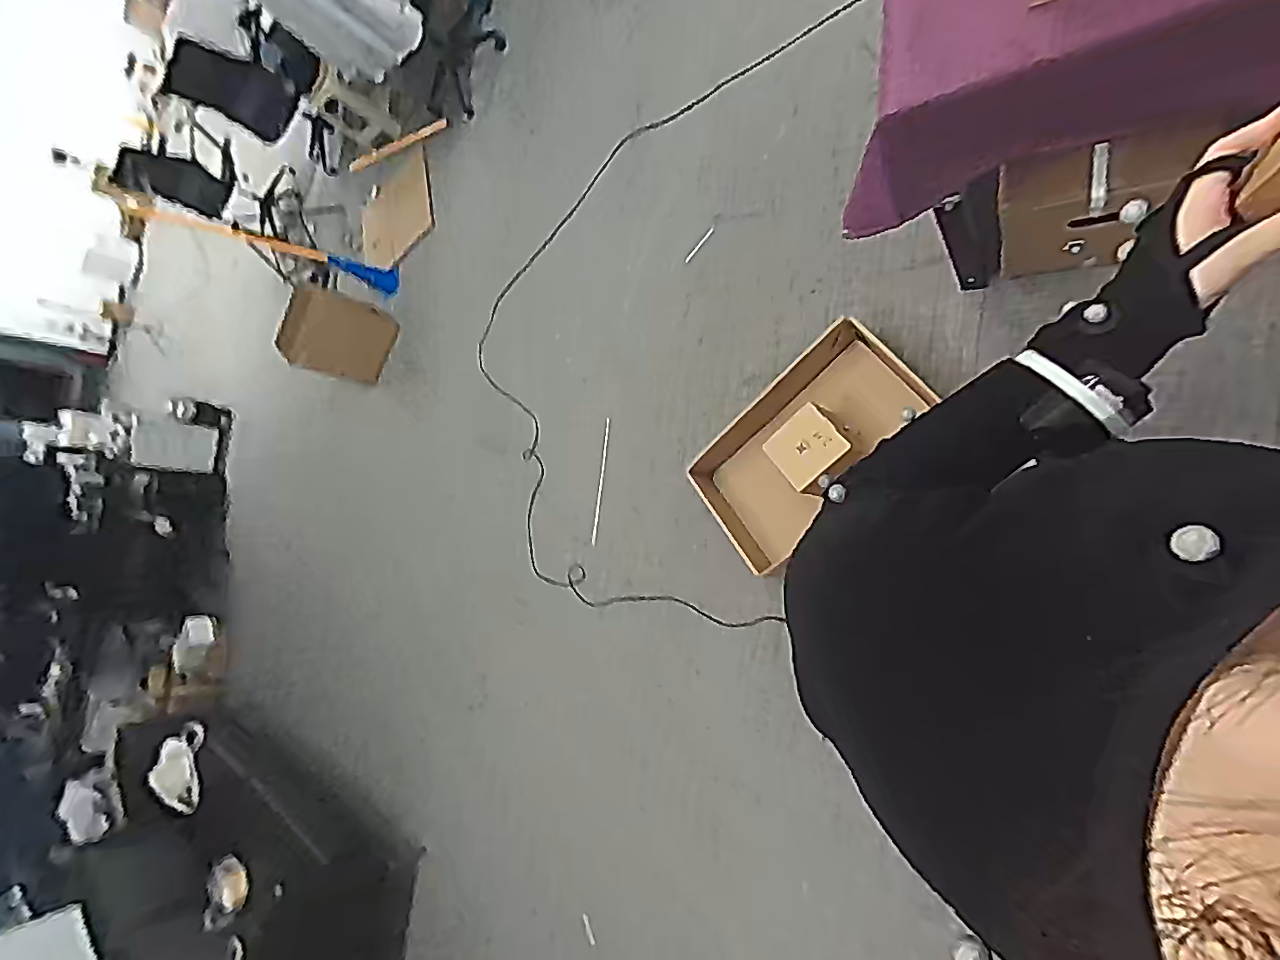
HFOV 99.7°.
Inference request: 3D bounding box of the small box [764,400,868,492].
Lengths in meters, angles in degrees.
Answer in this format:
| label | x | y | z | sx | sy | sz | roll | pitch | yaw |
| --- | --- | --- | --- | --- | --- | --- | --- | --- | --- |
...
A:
| label | x | y | z | sx | sy | sz | roll | pitch | yaw |
| --- | --- | --- | --- | --- | --- | --- | --- | --- | --- |
| small box | 0.471 | -0.083 | 1.435 | 0.179 | 0.176 | 0.168 | -46 | 61 | 25 |
